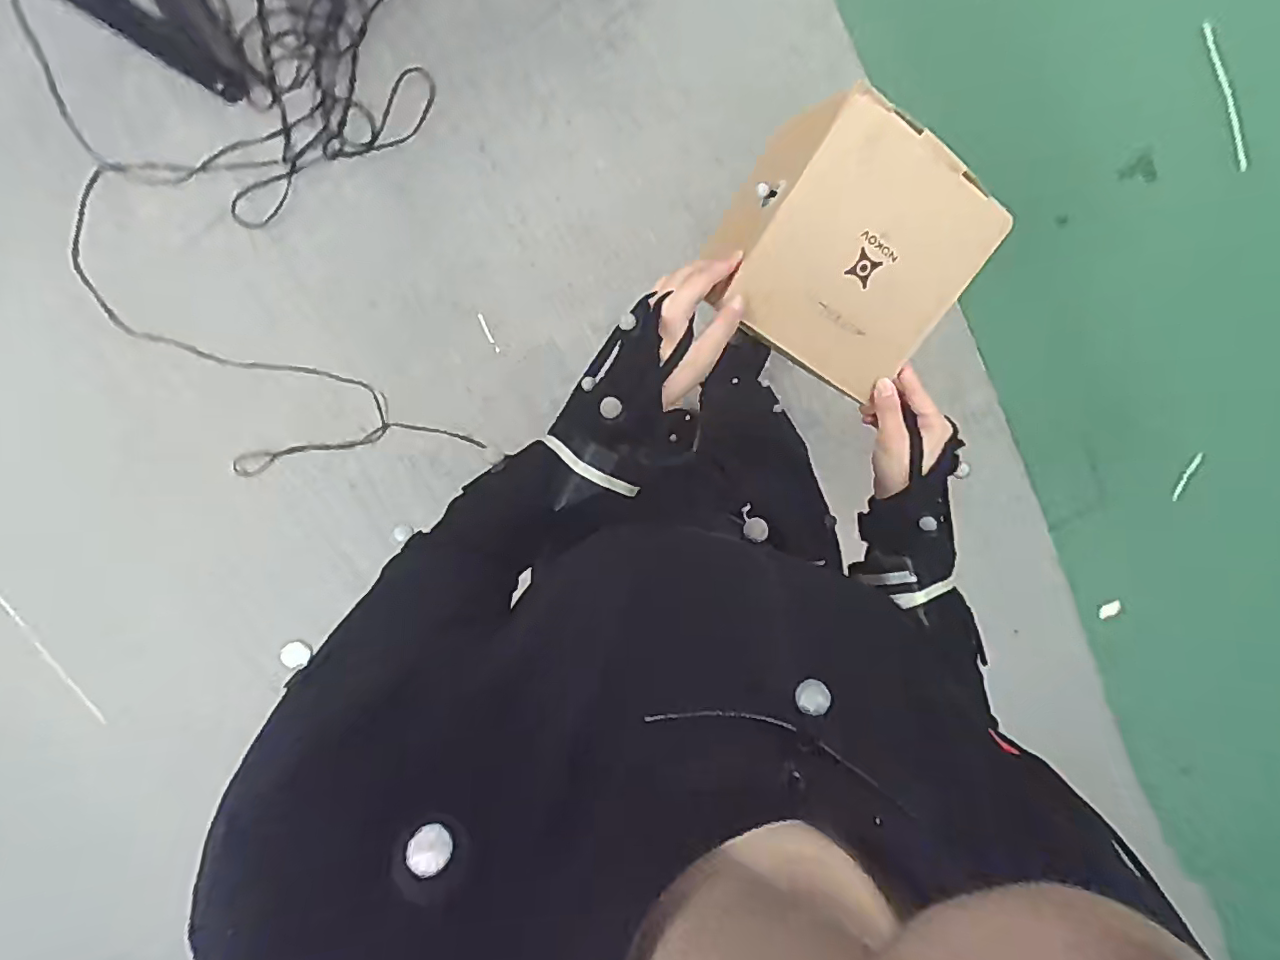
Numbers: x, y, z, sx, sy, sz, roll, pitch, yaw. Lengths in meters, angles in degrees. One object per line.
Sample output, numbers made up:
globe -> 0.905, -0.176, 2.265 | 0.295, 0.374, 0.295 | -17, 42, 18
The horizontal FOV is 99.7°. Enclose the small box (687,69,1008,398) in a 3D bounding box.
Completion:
small box -> 0.160, -0.206, 0.483 | 0.168, 0.176, 0.179 | 27, 109, -17
